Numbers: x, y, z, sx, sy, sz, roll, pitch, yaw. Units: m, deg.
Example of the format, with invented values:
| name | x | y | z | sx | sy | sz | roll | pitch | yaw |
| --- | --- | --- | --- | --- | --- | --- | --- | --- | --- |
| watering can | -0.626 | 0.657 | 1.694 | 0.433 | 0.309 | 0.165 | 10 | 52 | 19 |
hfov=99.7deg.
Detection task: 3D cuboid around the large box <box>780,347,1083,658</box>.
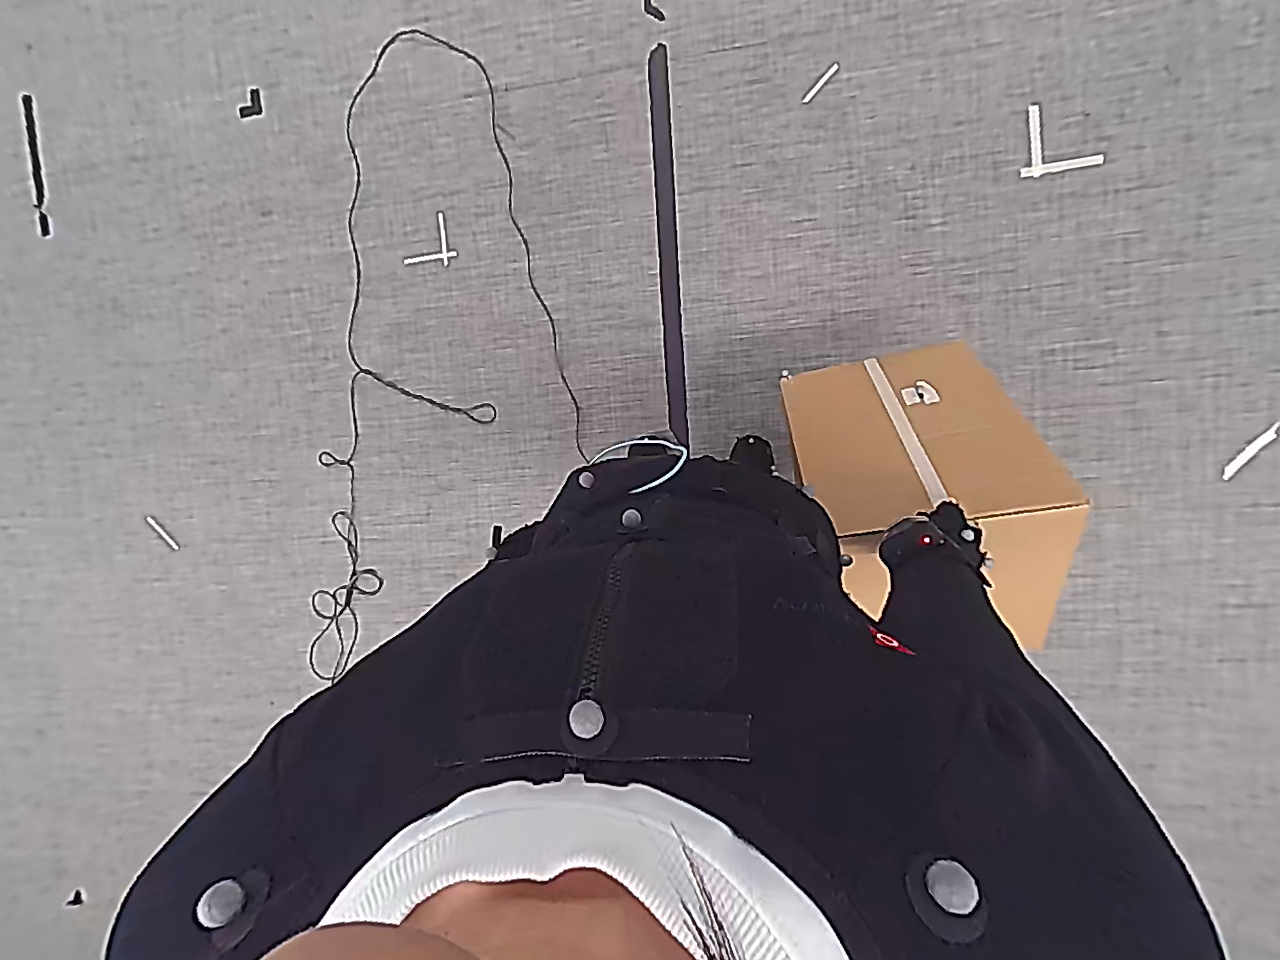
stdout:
| name | x | y | z | sx | sy | sz | roll | pitch | yaw |
| --- | --- | --- | --- | --- | --- | --- | --- | --- | --- |
| large box | 0.440 | 0.033 | 0.919 | 0.320 | 0.408 | 0.320 | -9 | 129 | 12 |
